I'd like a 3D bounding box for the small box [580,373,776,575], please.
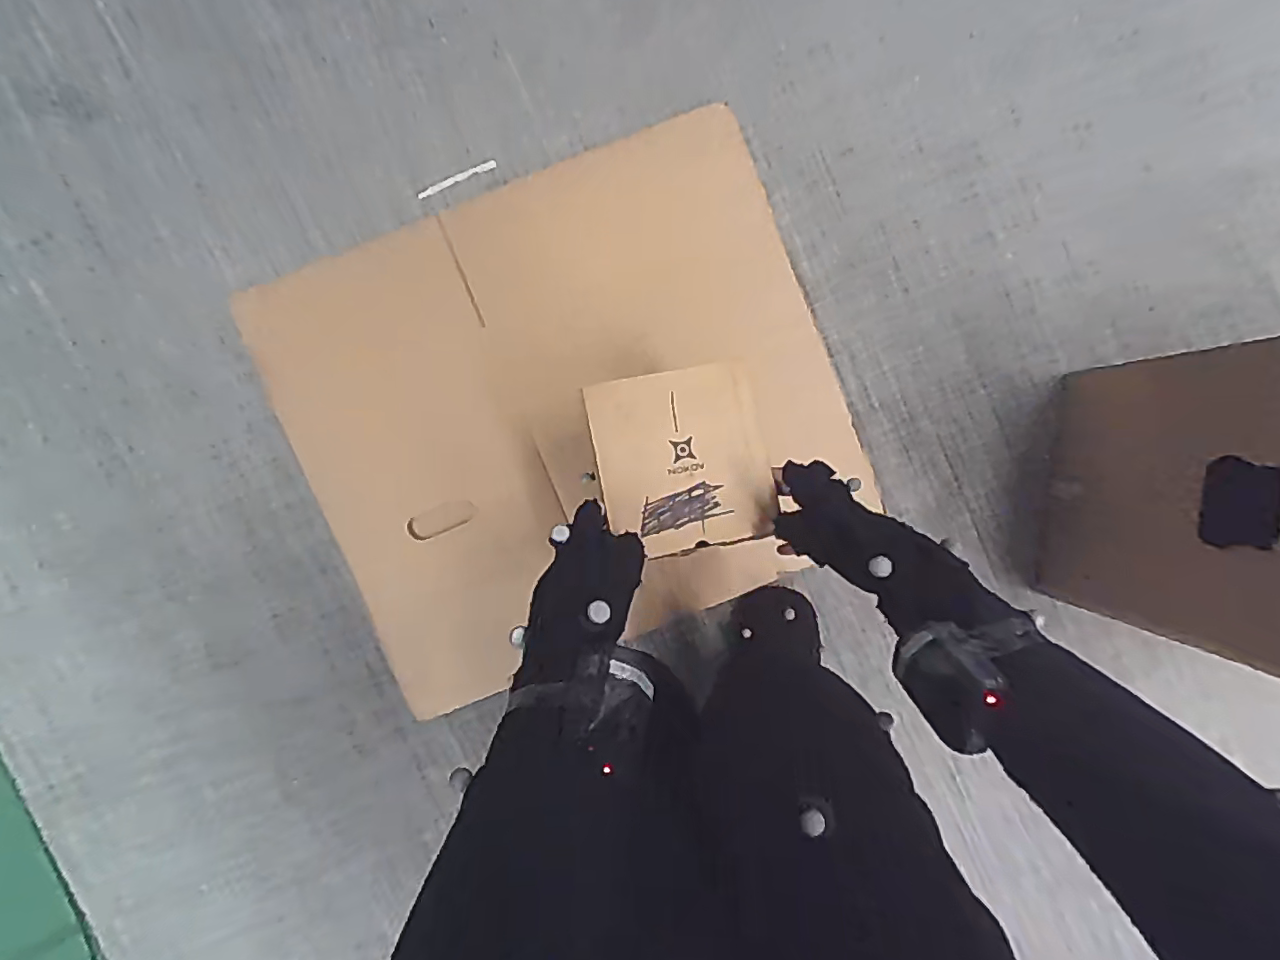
[{"bbox_3d":[0.031,0.001,0.600,0.168,0.176,0.179,-11,83,-6],"label":"small box"}]
